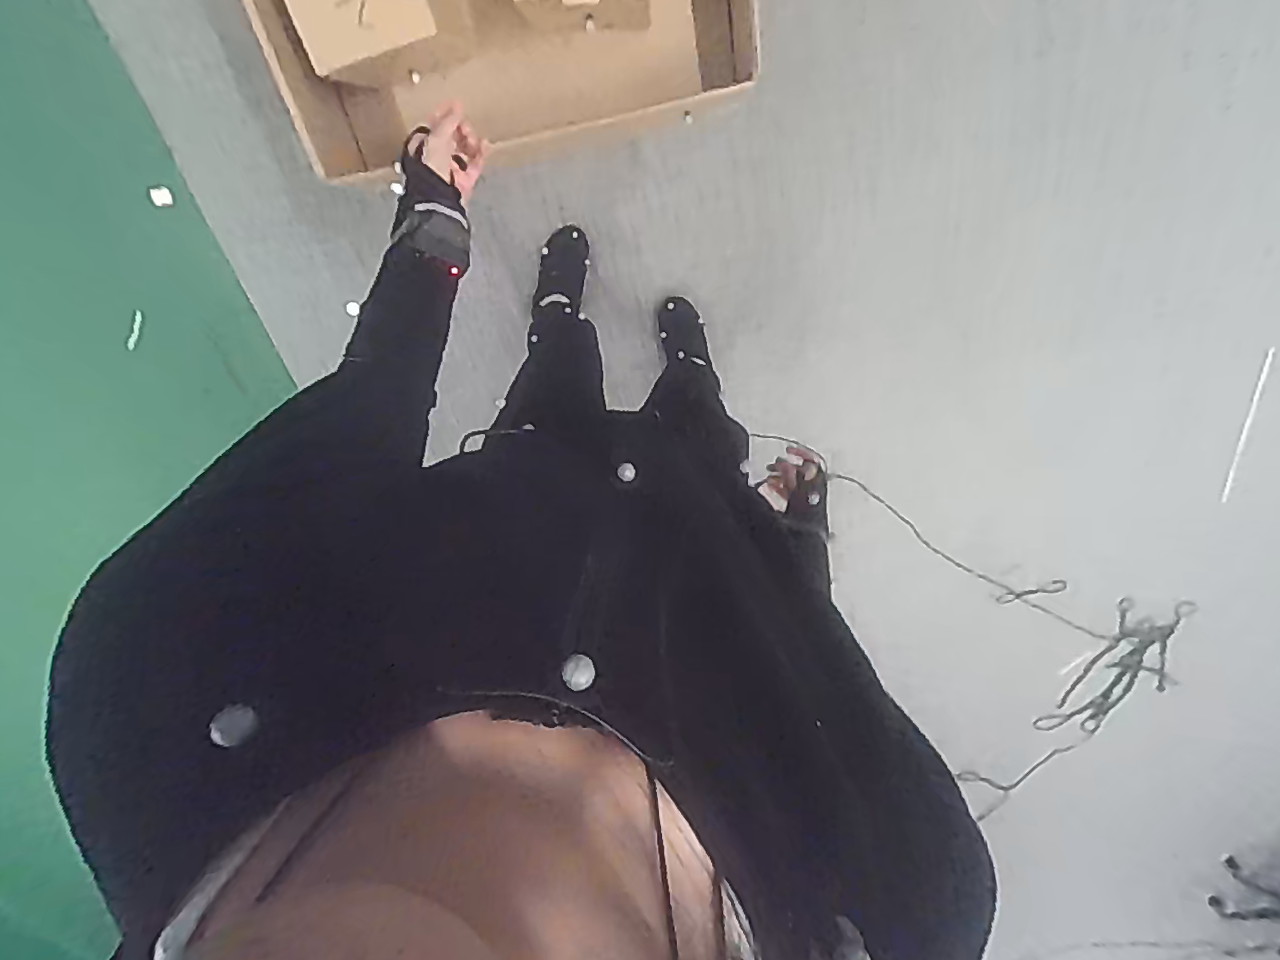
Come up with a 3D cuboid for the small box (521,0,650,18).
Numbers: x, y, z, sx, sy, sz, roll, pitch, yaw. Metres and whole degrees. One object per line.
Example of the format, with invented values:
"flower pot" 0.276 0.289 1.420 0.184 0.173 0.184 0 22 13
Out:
"small box" -0.071 -0.675 0.642 0.168 0.176 0.179 0 120 1
